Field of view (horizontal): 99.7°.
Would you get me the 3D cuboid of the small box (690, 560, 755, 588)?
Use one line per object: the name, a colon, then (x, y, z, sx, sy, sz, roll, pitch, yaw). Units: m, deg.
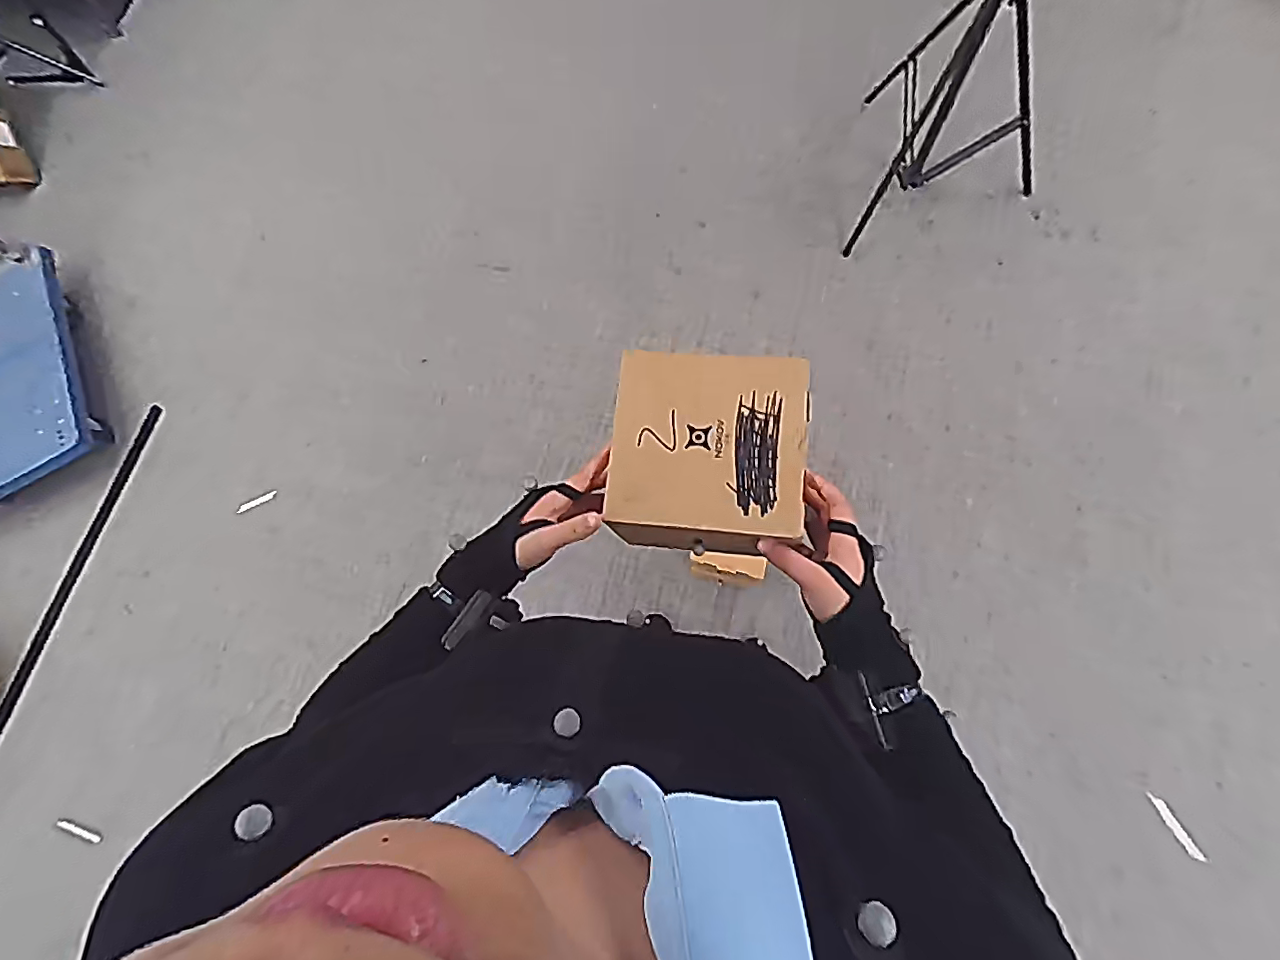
small box: (0.233, 0.183, 1.430, 0.168, 0.176, 0.179, 12, 77, 9)

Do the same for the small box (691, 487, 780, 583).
small box: (0.220, 0.135, 1.274, 0.168, 0.176, 0.179, 14, 78, 11)
